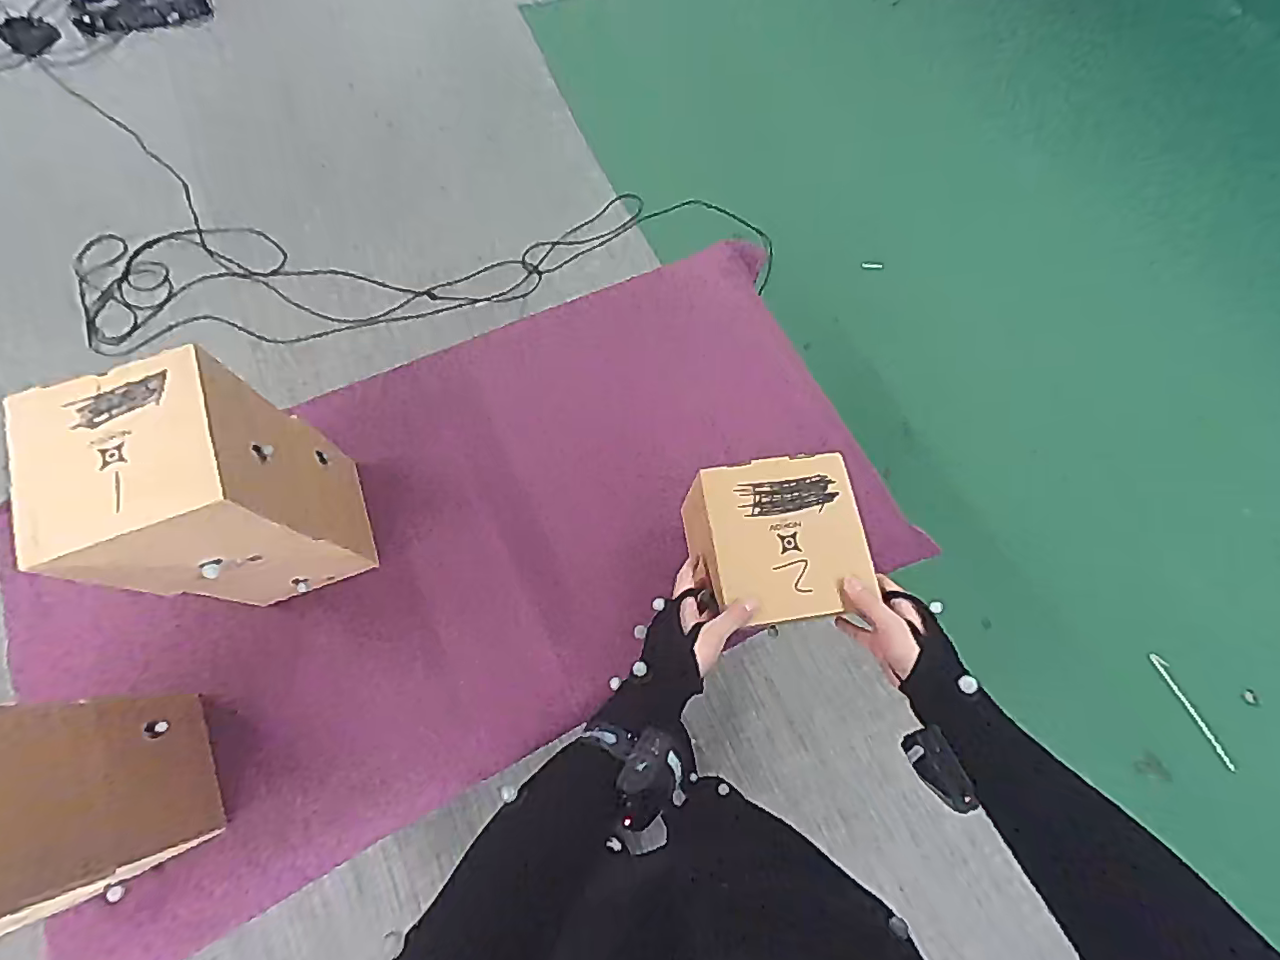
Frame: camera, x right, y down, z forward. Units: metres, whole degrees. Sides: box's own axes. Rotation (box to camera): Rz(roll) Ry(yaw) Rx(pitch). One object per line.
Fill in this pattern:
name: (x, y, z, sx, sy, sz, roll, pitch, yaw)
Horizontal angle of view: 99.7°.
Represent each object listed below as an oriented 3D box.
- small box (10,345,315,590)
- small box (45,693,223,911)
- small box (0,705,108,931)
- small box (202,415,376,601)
small box: (-0.475, -0.003, 0.561, 0.168, 0.176, 0.179, -21, 74, -10)
small box: (-0.614, 0.356, 0.601, 0.168, 0.176, 0.179, -24, 73, -10)
small box: (-0.601, 0.305, 0.447, 0.168, 0.176, 0.179, -24, 71, -10)
small box: (-0.480, 0.044, 0.718, 0.168, 0.176, 0.179, -19, 73, -9)
